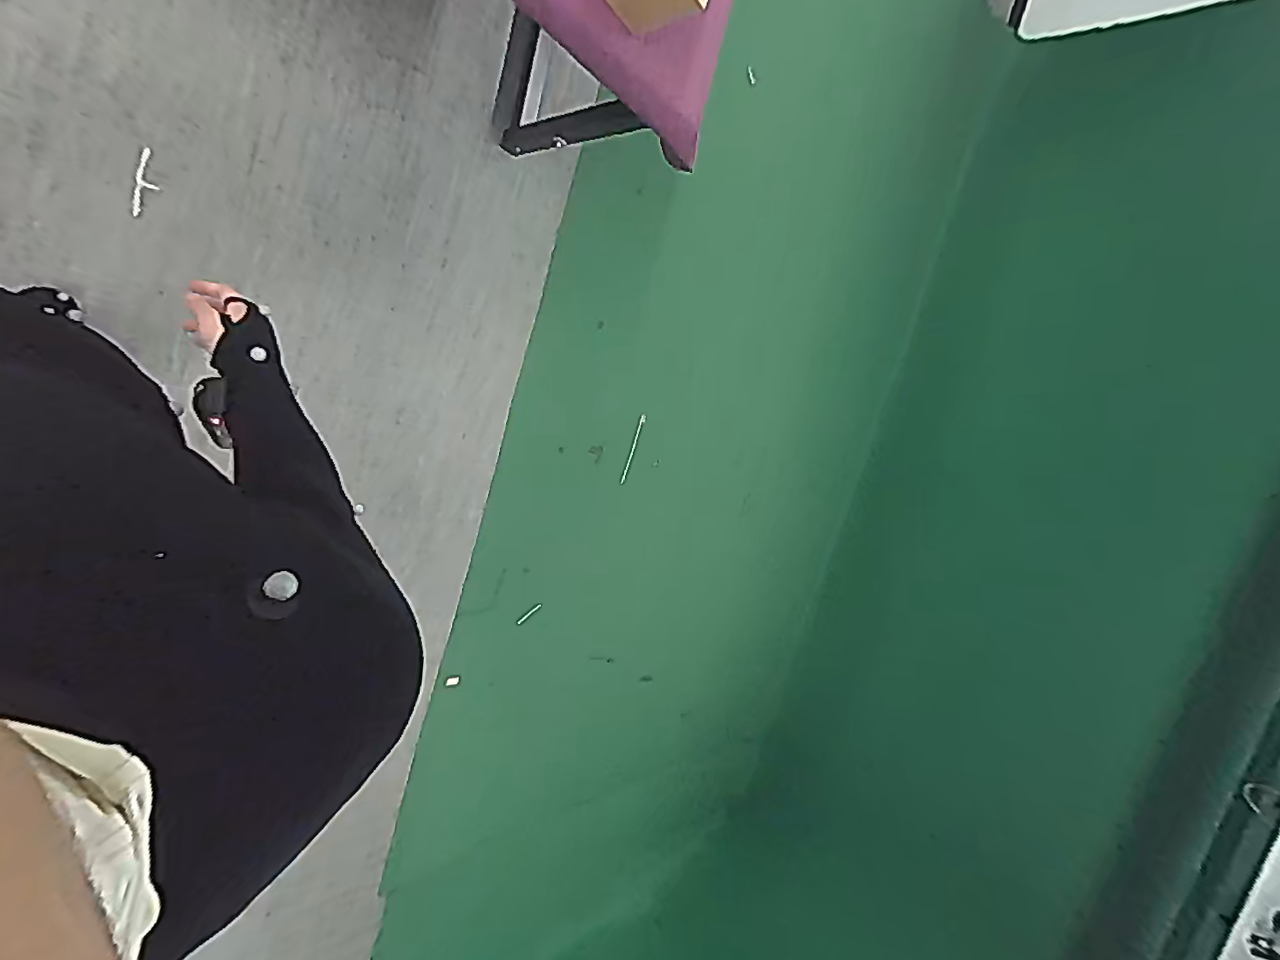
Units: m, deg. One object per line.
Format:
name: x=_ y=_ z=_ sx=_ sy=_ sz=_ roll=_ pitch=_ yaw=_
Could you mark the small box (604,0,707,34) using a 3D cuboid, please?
small box: x=0.017 y=-0.880 z=0.874 sx=0.179 sy=0.176 sz=0.168 roll=17 pitch=93 yaw=-48
